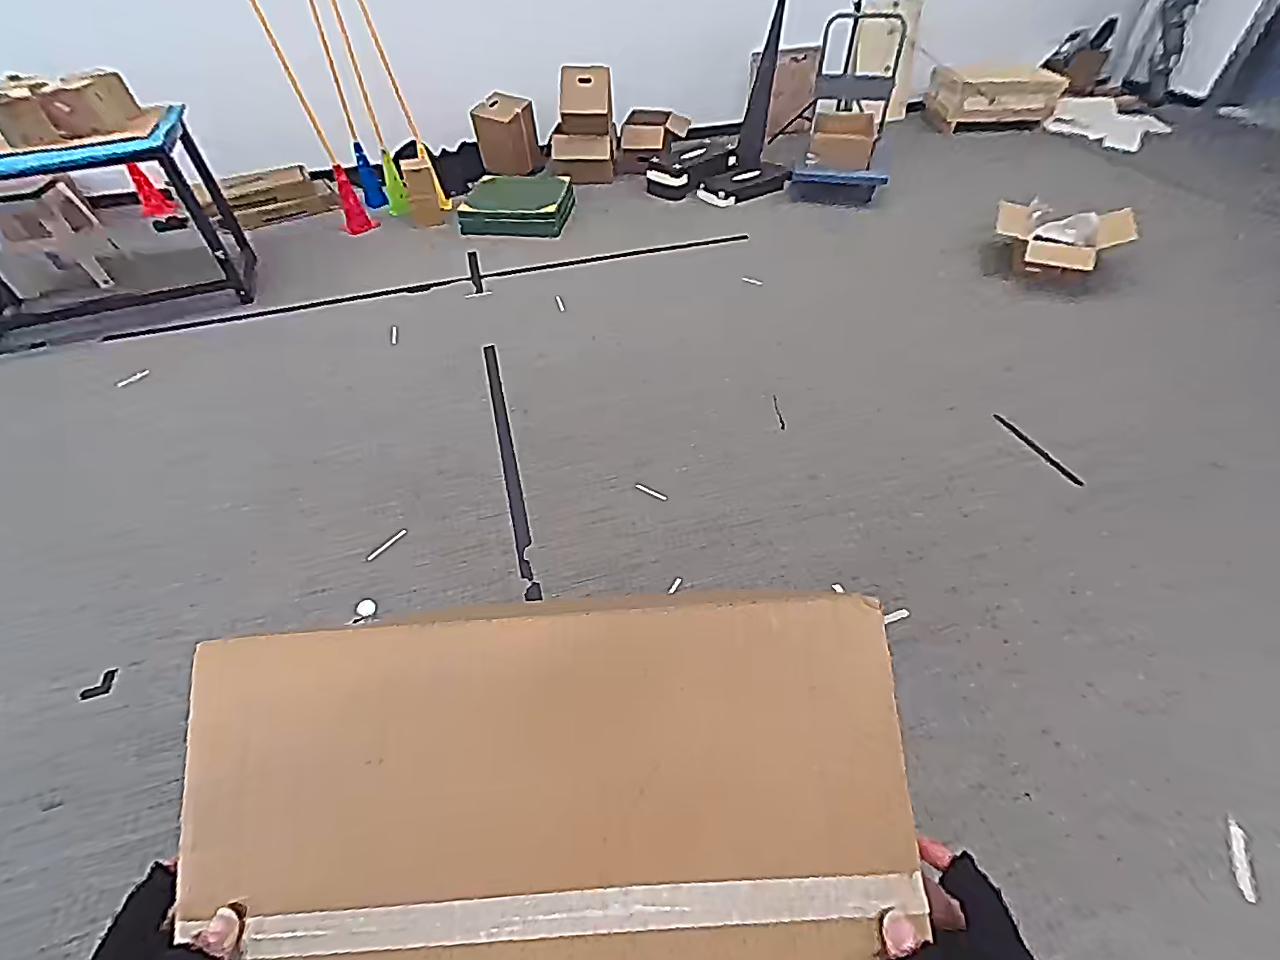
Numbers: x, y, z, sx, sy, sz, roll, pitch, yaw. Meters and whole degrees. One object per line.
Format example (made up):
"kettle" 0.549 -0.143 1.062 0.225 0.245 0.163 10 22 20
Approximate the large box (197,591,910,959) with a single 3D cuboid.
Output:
"large box" -0.049 0.265 0.452 0.408 0.320 0.320 -4 81 1
